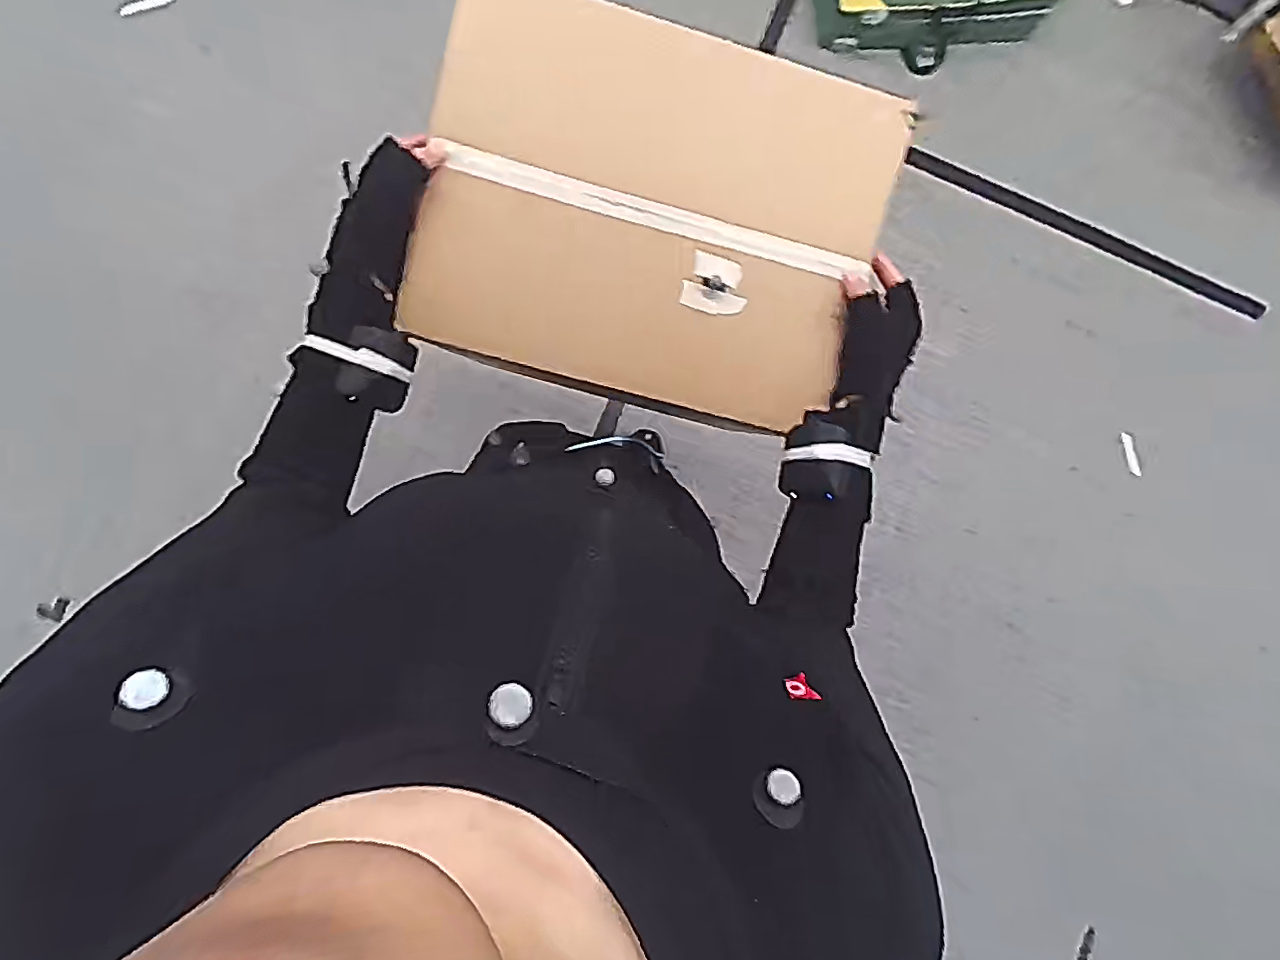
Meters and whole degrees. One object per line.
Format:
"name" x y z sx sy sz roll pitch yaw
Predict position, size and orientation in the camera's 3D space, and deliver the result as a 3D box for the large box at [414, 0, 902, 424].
"large box" 0.005 -0.261 0.642 0.408 0.320 0.320 13 97 -6
